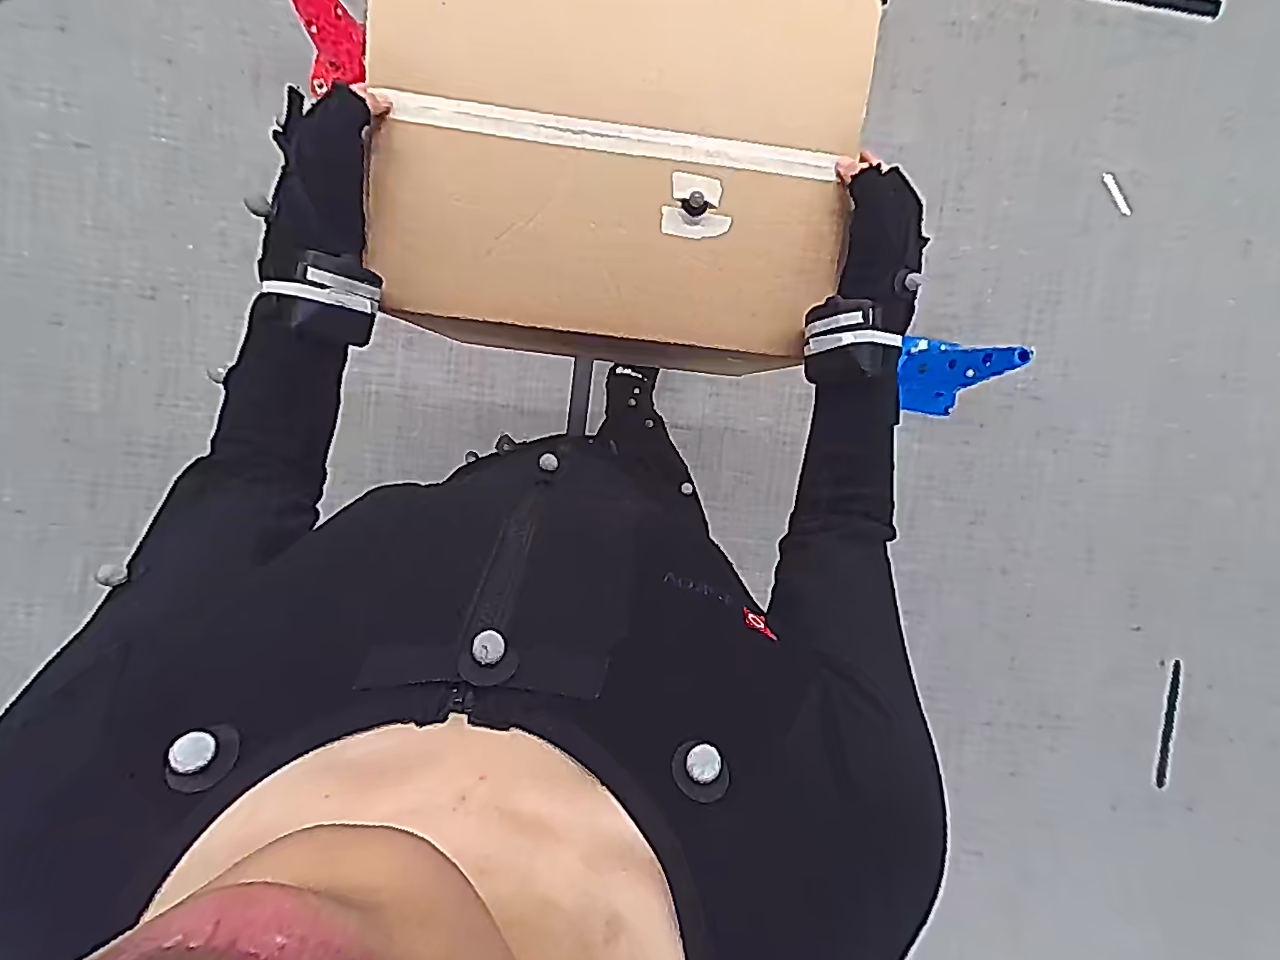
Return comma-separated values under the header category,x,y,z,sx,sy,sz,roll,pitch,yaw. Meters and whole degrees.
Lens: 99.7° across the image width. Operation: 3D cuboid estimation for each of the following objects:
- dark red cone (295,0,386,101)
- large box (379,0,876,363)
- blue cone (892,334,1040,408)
category,x,y,z,sx,sy,sz,roll,pitch,yaw
dark red cone,-0.683,-1.023,1.140,0.201,0.394,0.202,12,94,-5
large box,-0.023,-0.313,0.597,0.408,0.320,0.320,5,98,-6
blue cone,0.805,-0.286,1.324,0.192,0.380,0.193,9,94,-5
